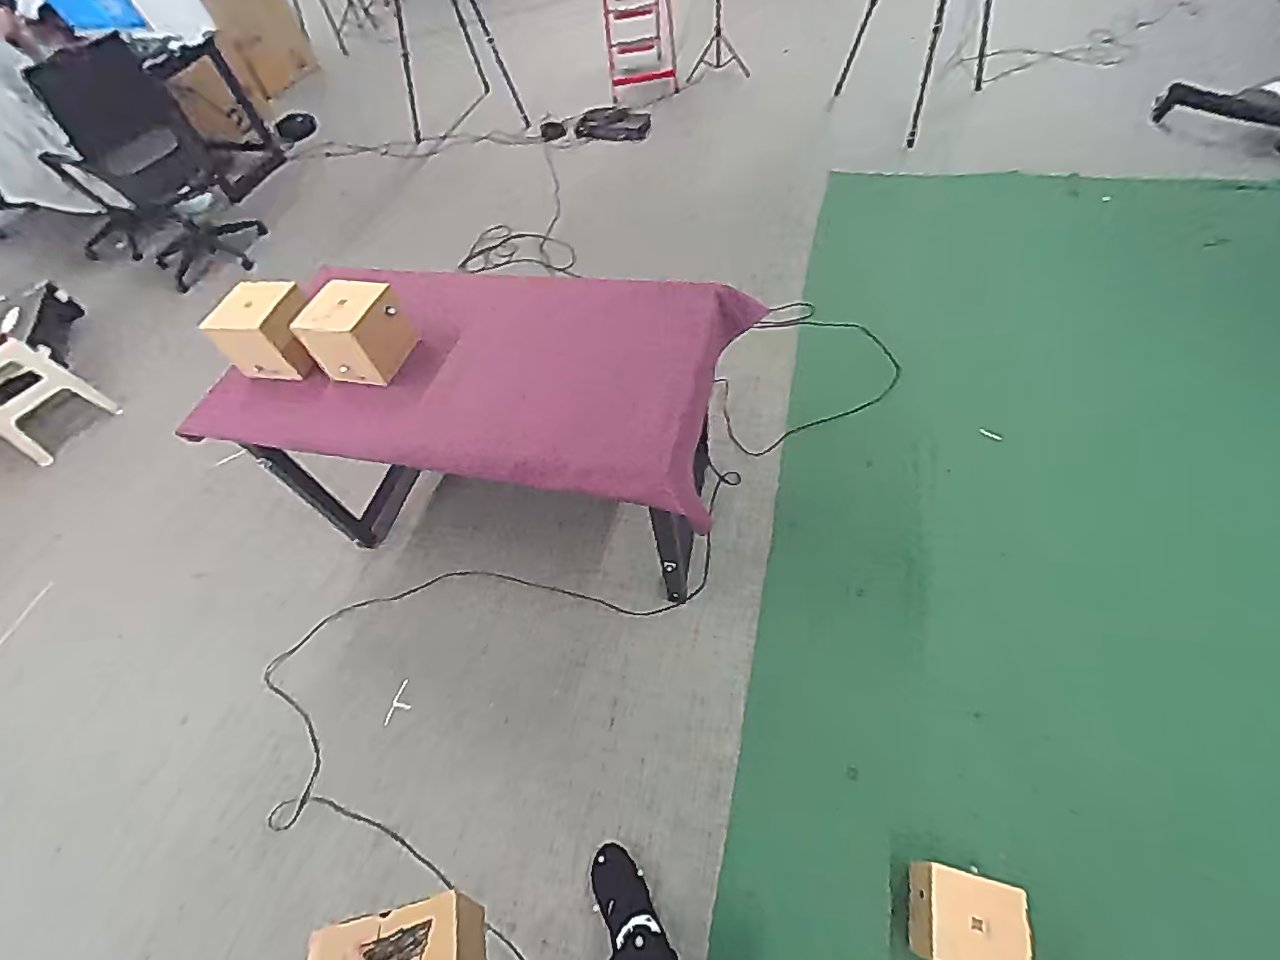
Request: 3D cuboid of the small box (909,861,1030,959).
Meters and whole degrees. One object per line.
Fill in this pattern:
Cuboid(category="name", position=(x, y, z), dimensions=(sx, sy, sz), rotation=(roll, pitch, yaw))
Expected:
Cuboid(category="small box", position=(0.669, 0.914, 1.118), dimensions=(0.179, 0.176, 0.168), rotation=(10, 57, 14))

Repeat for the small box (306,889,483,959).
Cuboid(category="small box", position=(-0.285, 0.624, 0.641), dimensions=(0.168, 0.176, 0.179), rotation=(-10, 47, -9))

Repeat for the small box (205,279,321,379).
Cuboid(category="small box", position=(-0.913, -0.379, 1.355), dimensions=(0.168, 0.176, 0.179), rotation=(4, 57, 12))

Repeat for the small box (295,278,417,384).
Cuboid(category="small box", position=(-0.669, -0.360, 1.305), dimensions=(0.168, 0.176, 0.179), rotation=(9, 58, 14))
